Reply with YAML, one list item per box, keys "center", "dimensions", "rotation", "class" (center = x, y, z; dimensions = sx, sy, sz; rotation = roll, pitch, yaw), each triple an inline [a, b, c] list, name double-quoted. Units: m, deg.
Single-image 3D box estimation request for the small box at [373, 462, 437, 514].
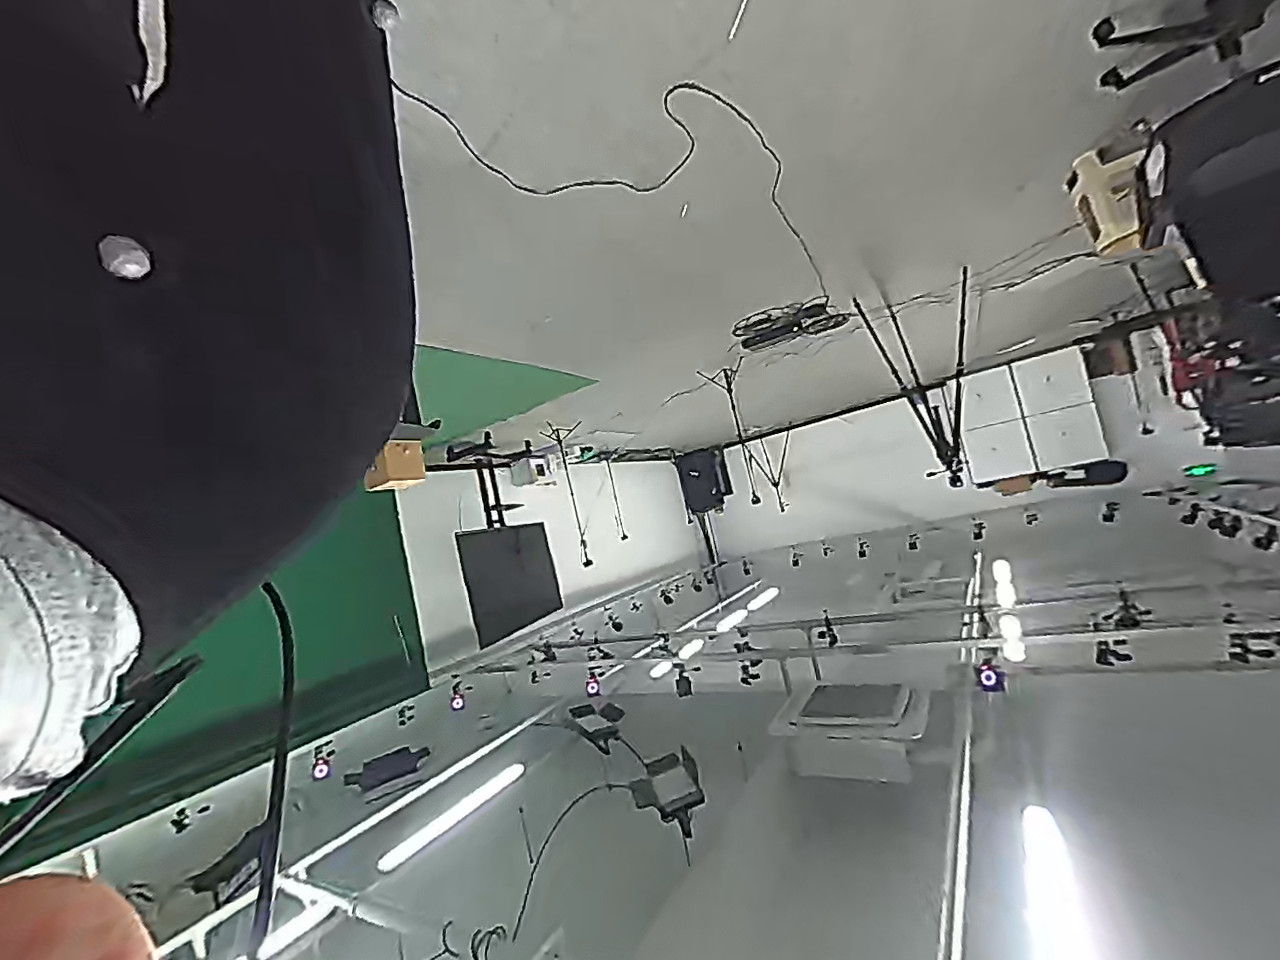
- center: [-0.951, 0.032, 2.177]
  dimensions: [0.179, 0.176, 0.168]
  rotation: [-19, 172, 33]
  class: "small box"
